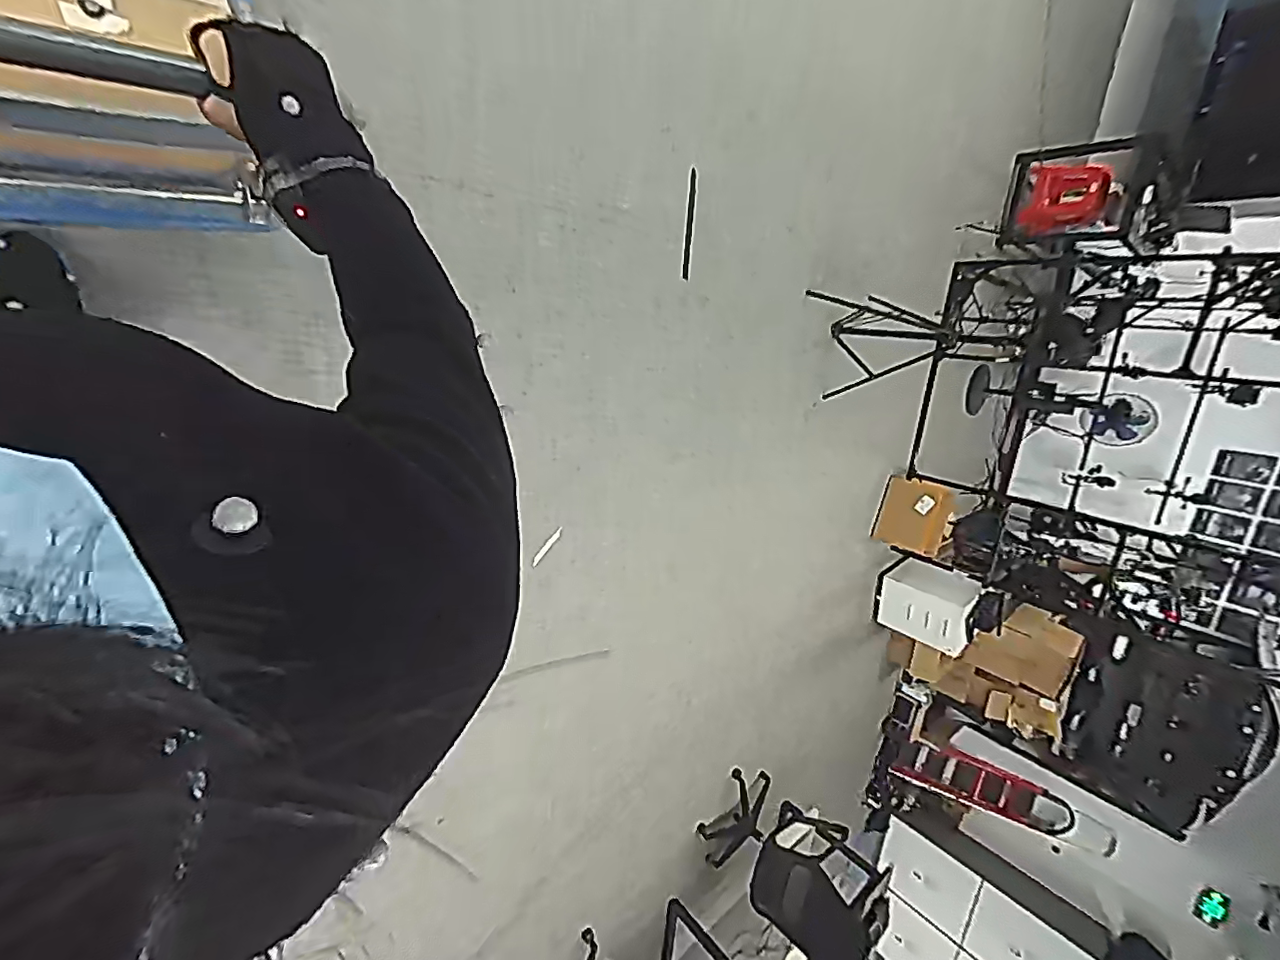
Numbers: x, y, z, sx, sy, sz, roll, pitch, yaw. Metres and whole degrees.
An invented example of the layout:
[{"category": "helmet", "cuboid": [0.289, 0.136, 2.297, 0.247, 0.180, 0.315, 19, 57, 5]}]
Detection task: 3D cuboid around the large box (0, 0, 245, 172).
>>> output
[{"category": "large box", "cuboid": [-0.797, -0.609, 0.682, 0.408, 0.320, 0.320, -17, 115, -40]}]
